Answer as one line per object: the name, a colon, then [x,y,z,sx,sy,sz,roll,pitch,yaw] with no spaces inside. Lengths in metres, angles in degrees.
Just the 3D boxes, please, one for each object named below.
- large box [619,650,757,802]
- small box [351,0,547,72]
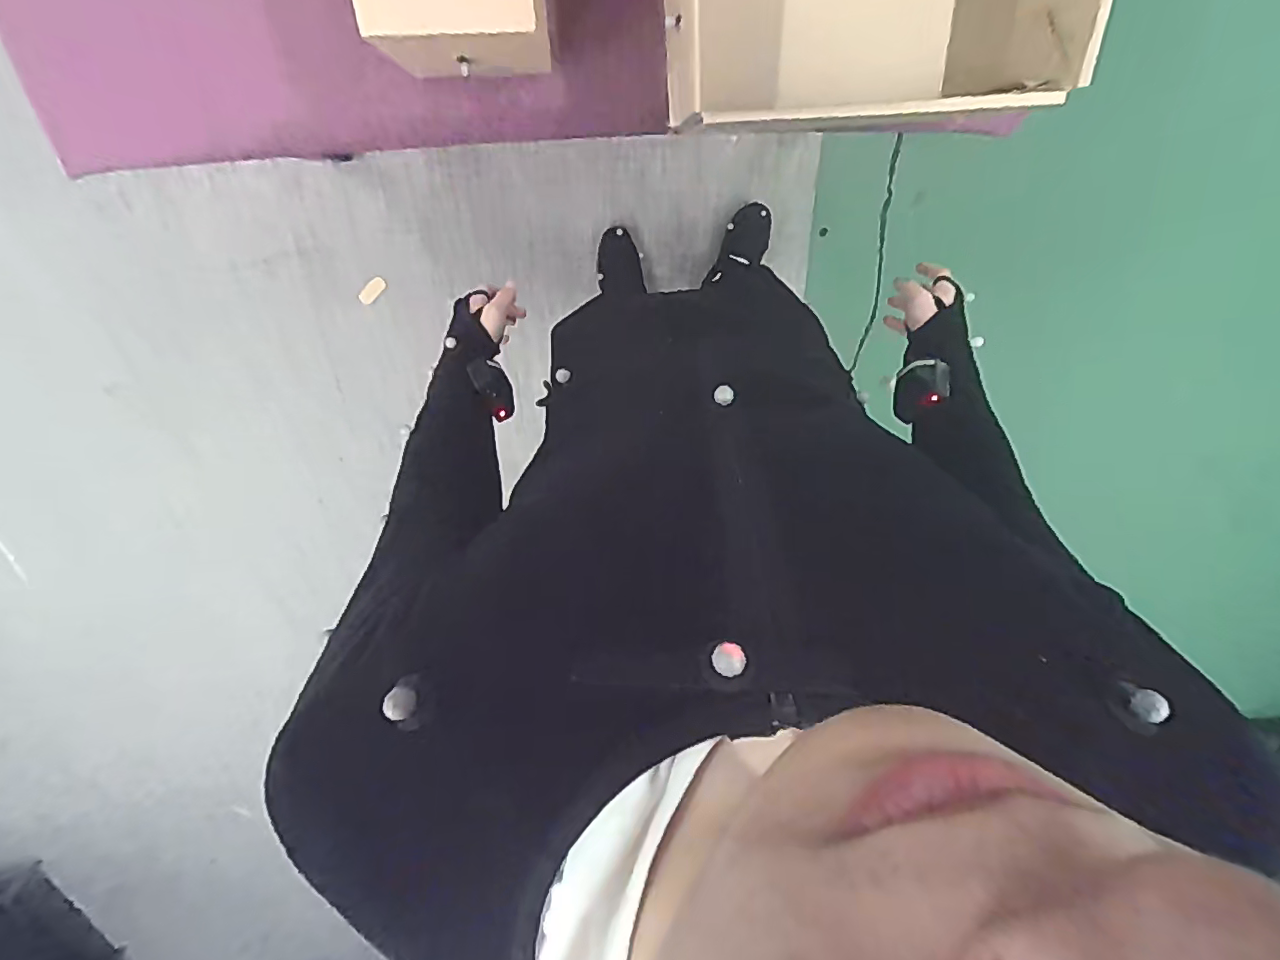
large box: [0.169,0.935,2.069,0.408,0.320,0.320,-34,115,12]
small box: [-0.189,-0.530,0.543,0.168,0.176,0.179,-3,116,-3]
